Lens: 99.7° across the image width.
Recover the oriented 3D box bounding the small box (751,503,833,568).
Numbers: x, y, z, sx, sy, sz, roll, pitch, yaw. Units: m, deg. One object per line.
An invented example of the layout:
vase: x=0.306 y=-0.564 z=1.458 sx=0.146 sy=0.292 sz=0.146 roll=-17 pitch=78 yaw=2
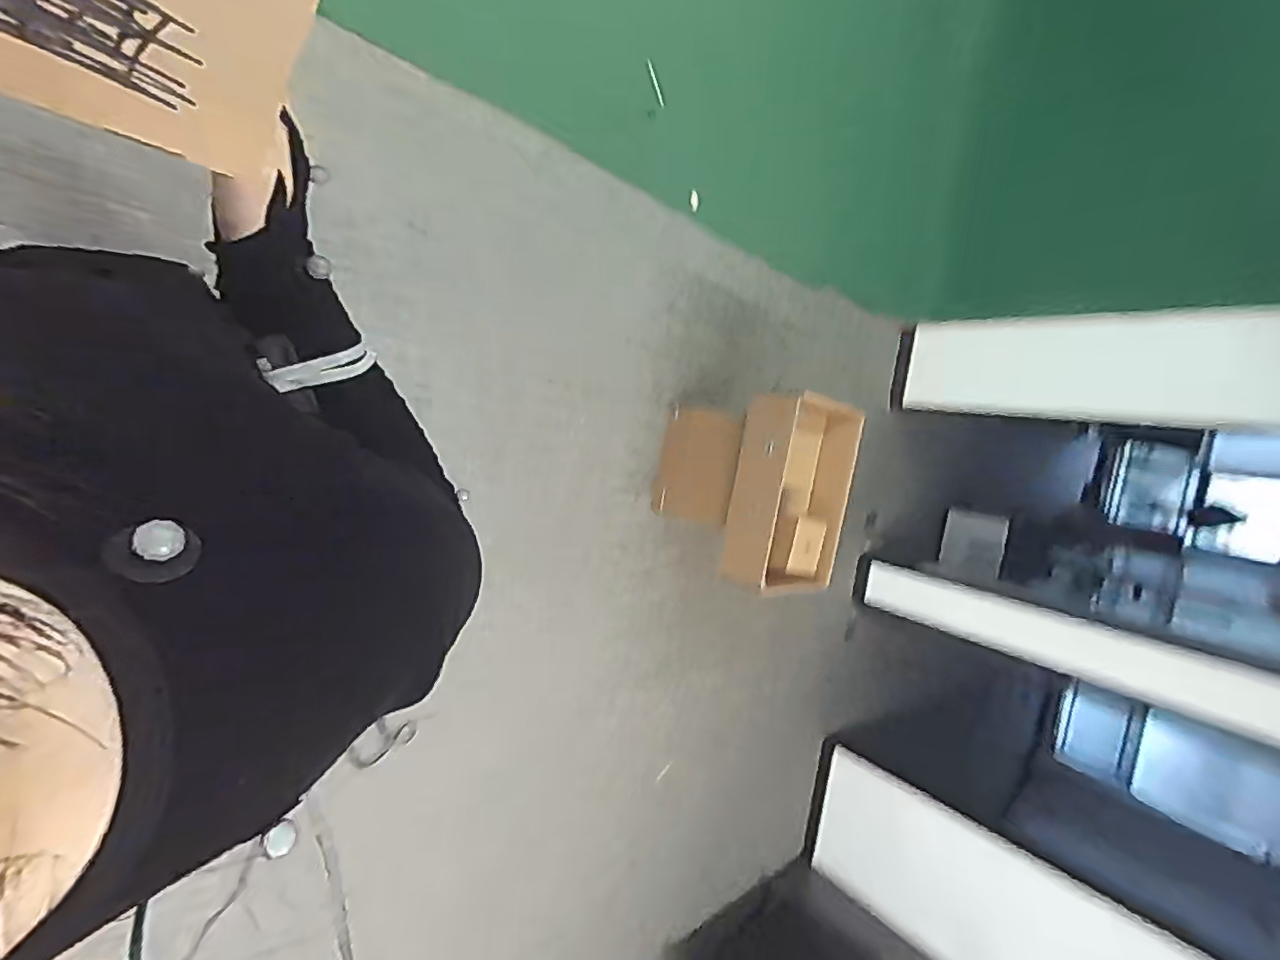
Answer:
small box: x=0.487 y=0.176 z=1.741 sx=0.179 sy=0.176 sz=0.168 roll=13 pitch=90 yaw=-42
